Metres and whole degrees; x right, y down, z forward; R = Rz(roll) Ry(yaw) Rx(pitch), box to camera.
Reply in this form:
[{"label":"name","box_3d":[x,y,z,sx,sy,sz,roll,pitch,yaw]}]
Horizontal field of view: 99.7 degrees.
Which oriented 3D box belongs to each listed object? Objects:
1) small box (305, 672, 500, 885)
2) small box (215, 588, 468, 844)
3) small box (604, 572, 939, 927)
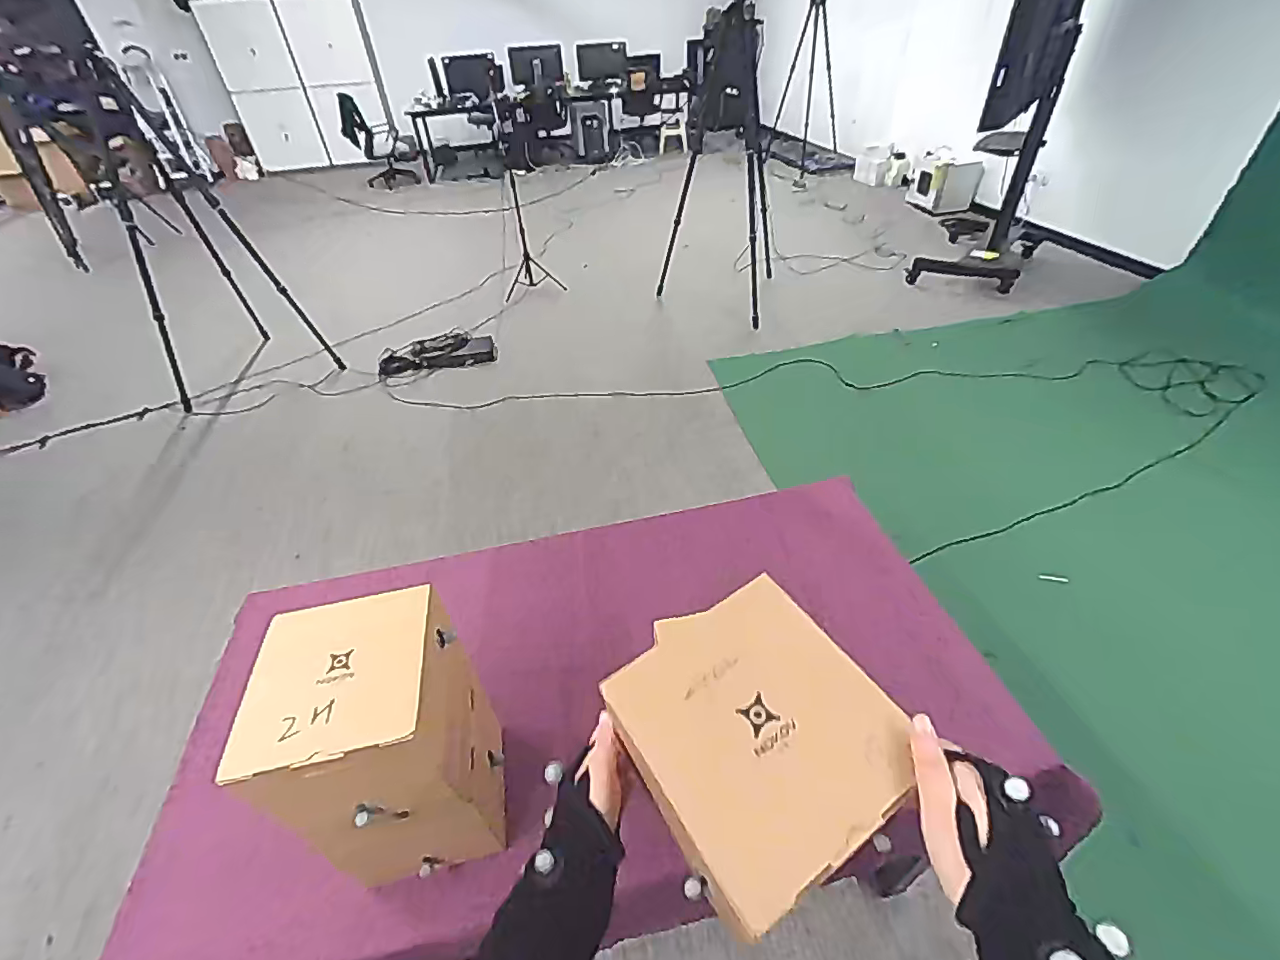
[{"label":"small box","box_3d":[-0.278,0.374,0.681,0.179,0.176,0.168,-11,41,-9]},{"label":"small box","box_3d":[-0.288,0.247,0.574,0.168,0.176,0.179,-10,41,-7]},{"label":"small box","box_3d":[0.091,0.216,0.440,0.168,0.176,0.179,-28,52,-19]}]
